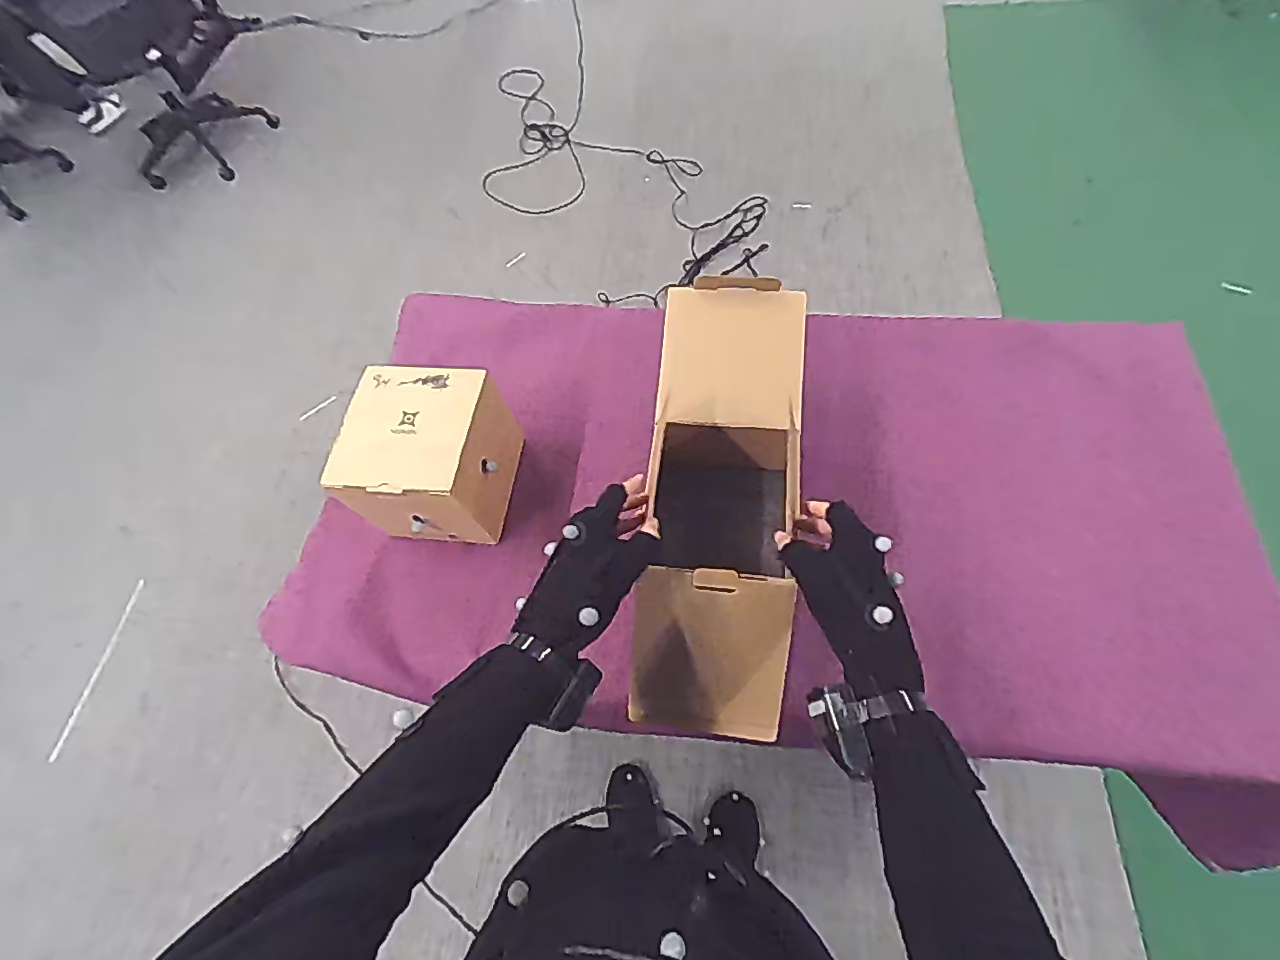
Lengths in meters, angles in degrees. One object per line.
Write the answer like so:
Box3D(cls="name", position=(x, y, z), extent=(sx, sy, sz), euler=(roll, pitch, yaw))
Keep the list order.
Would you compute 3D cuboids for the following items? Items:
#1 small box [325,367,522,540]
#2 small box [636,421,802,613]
Box3D(cls="small box", position=(-0.271, -0.029, 0.724), extent=(0.168, 0.176, 0.179), euler=(4, 64, 8))
Box3D(cls="small box", position=(0.095, 0.051, 0.645), extent=(0.168, 0.176, 0.179), euler=(5, 64, 8))
